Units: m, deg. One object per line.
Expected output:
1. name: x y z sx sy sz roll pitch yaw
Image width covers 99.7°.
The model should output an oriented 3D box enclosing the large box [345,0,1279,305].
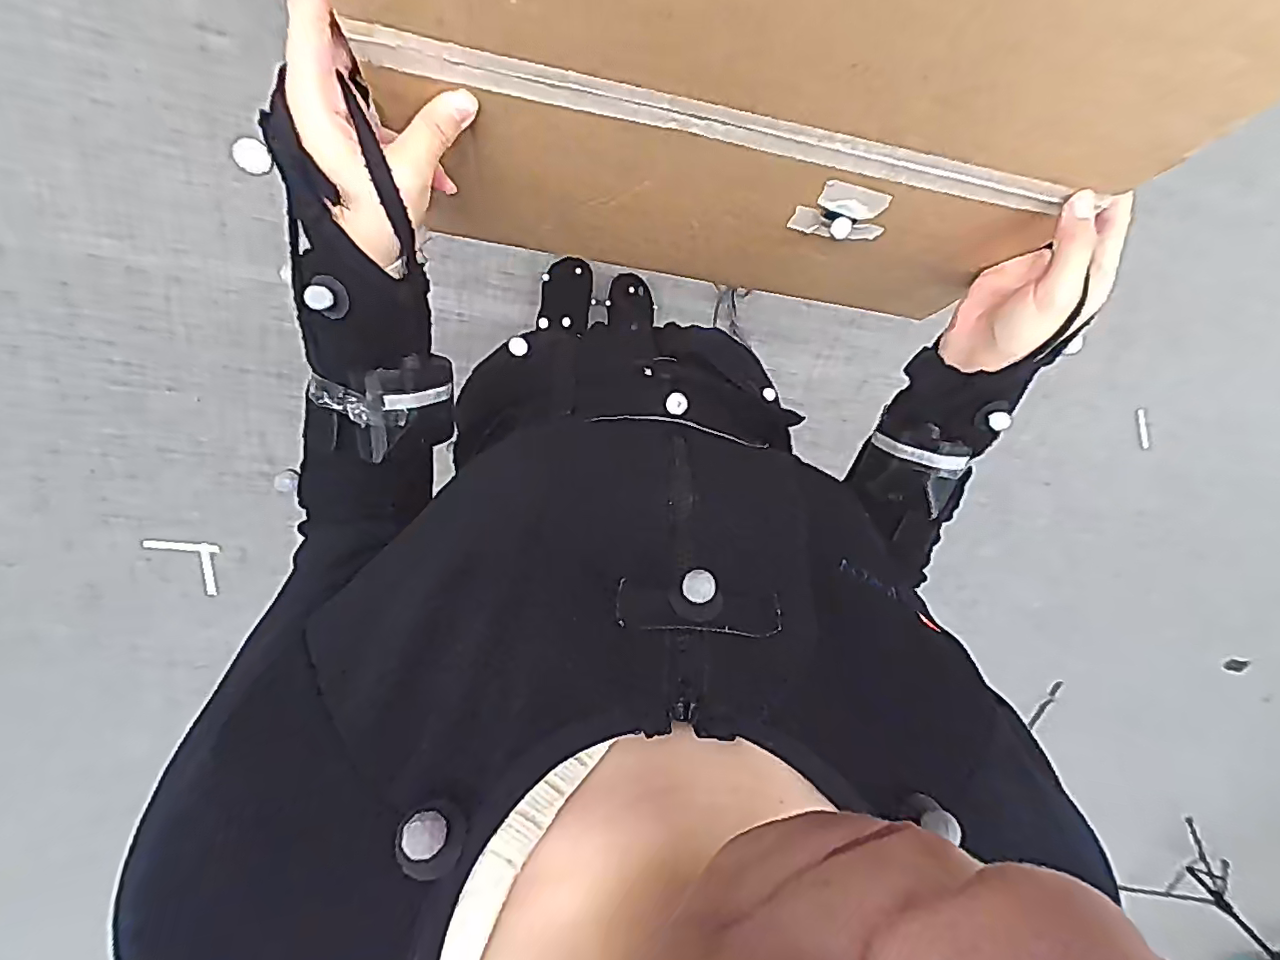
1. large box: 0.072 -0.334 0.302 0.408 0.320 0.320 6 83 -9
